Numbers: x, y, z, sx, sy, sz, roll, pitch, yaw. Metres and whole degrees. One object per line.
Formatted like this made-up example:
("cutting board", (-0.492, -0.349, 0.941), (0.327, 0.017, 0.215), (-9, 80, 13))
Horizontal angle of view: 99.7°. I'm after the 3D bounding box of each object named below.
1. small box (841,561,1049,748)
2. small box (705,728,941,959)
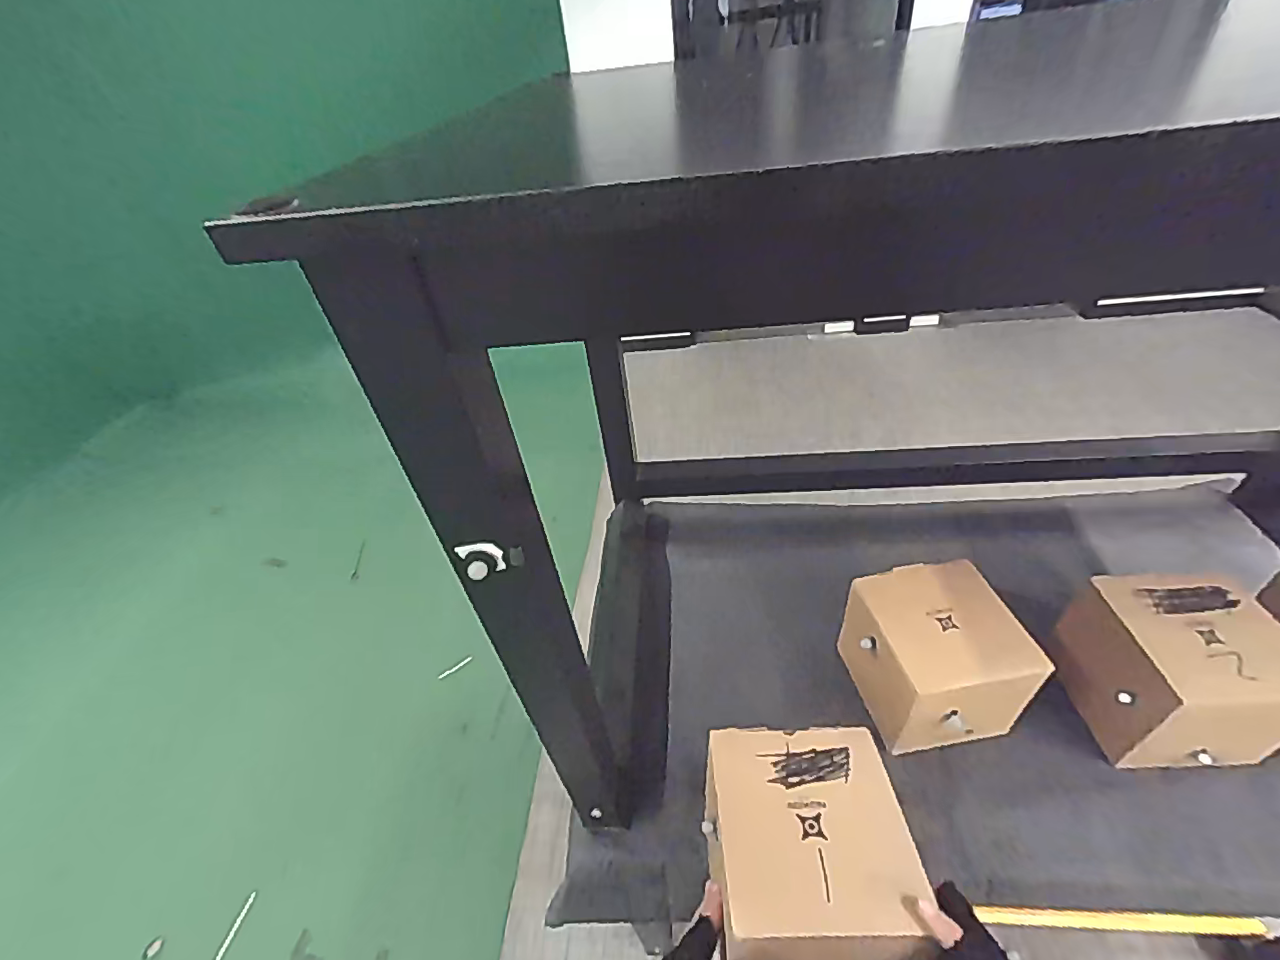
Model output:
("small box", (0.392, 0.241, 0.734), (0.168, 0.176, 0.179), (-10, 39, -1))
("small box", (0.152, 0.370, 0.526), (0.168, 0.176, 0.179), (-2, 32, 2))
